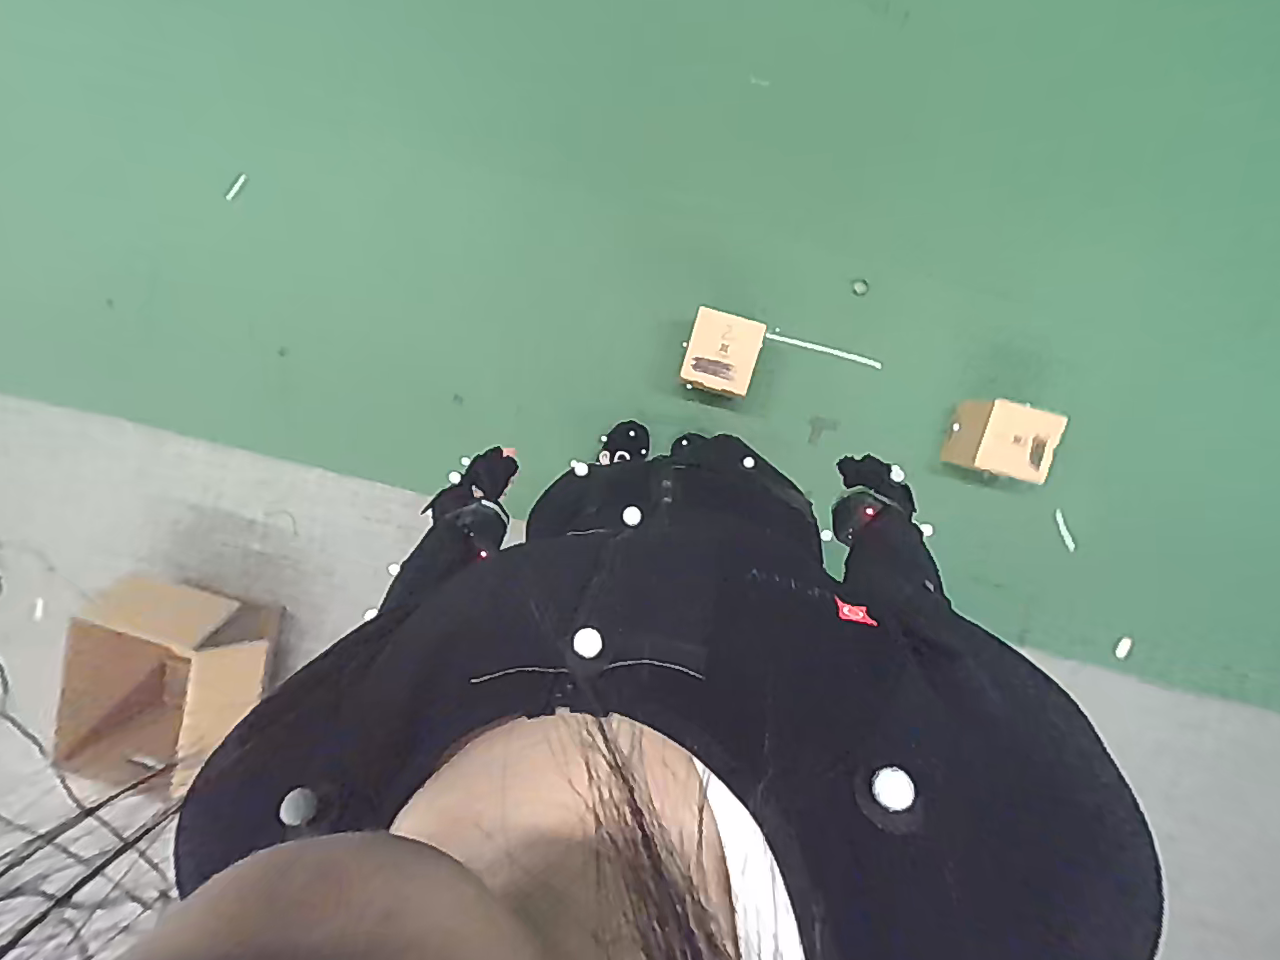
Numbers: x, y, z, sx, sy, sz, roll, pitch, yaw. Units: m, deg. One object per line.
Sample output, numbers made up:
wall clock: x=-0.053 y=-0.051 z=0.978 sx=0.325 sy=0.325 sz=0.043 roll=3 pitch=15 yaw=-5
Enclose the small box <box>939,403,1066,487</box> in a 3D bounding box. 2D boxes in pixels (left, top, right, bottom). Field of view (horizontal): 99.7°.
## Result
small box: x=0.898 y=-0.093 z=1.356 sx=0.179 sy=0.176 sz=0.168 roll=16 pitch=97 yaw=0
